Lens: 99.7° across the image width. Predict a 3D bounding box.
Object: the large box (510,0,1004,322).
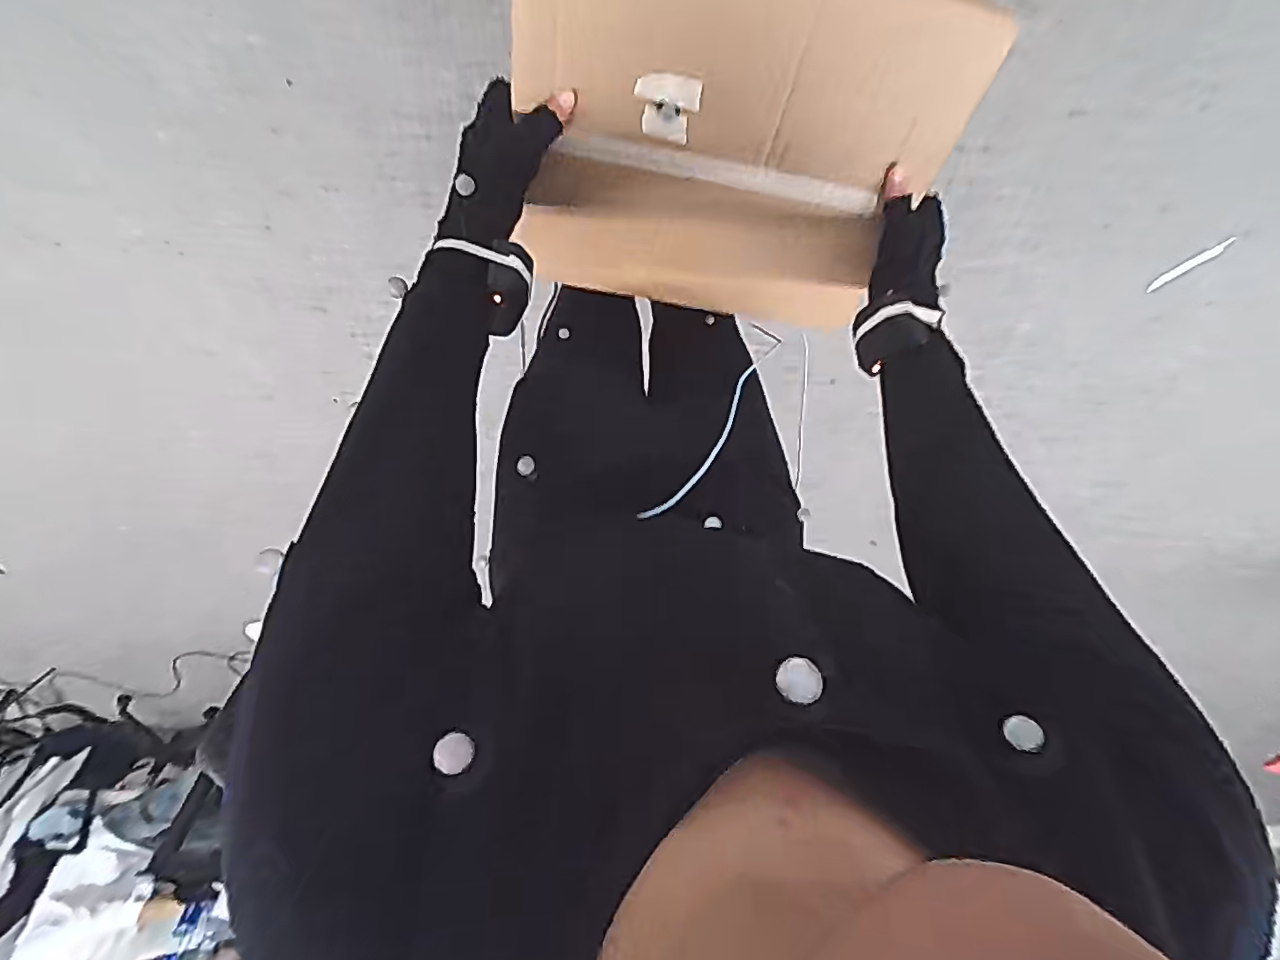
[{"bbox_3d":[0.083,-0.430,0.619,0.408,0.320,0.320,9,141,-7],"label":"large box"}]
